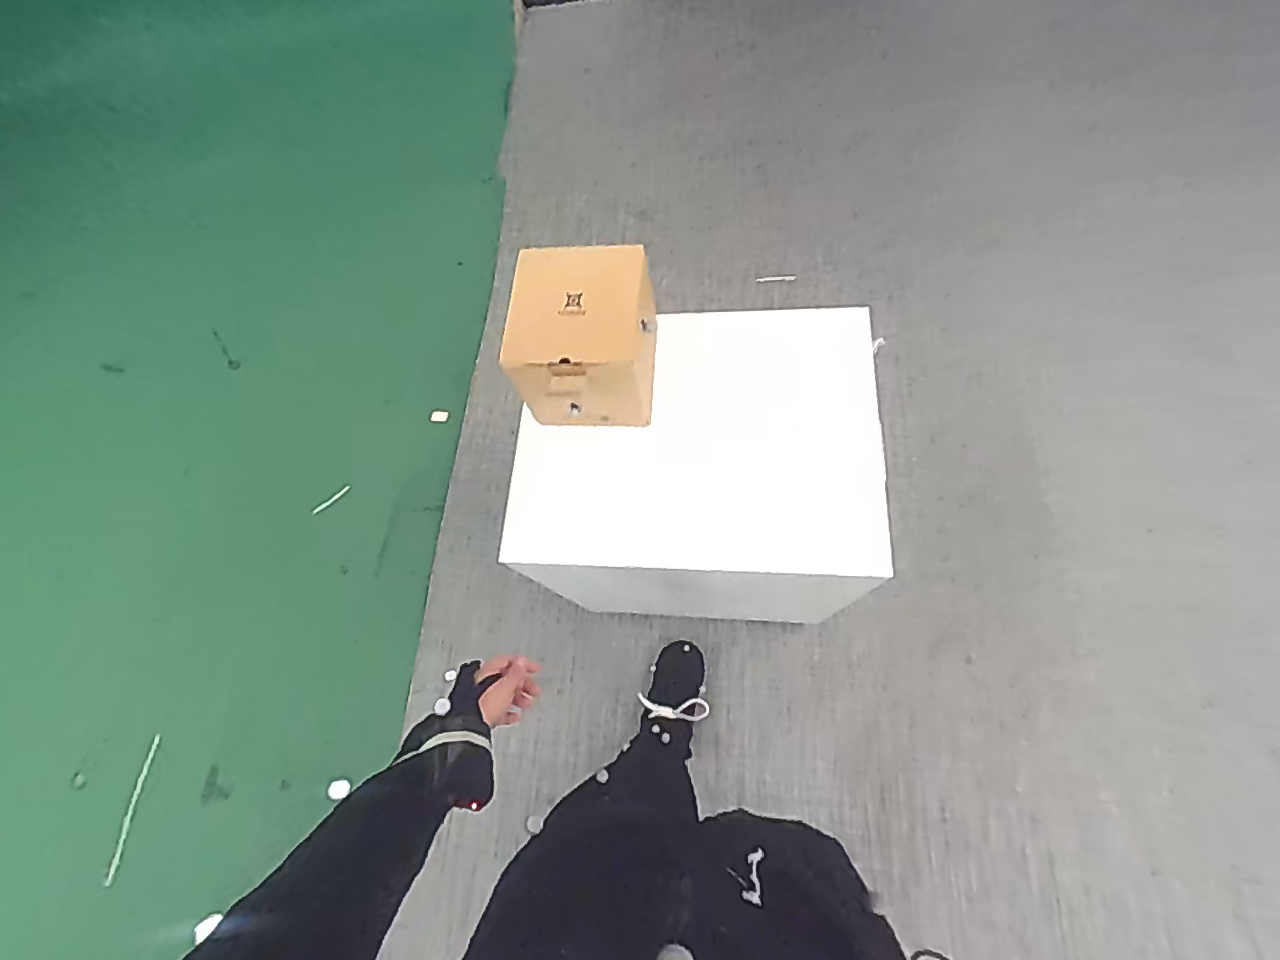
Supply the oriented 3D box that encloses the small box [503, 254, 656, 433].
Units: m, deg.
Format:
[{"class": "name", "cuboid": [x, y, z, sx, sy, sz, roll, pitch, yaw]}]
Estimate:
[{"class": "small box", "cuboid": [-0.069, -0.180, 0.739, 0.168, 0.176, 0.179, 1, 70, 8]}]
